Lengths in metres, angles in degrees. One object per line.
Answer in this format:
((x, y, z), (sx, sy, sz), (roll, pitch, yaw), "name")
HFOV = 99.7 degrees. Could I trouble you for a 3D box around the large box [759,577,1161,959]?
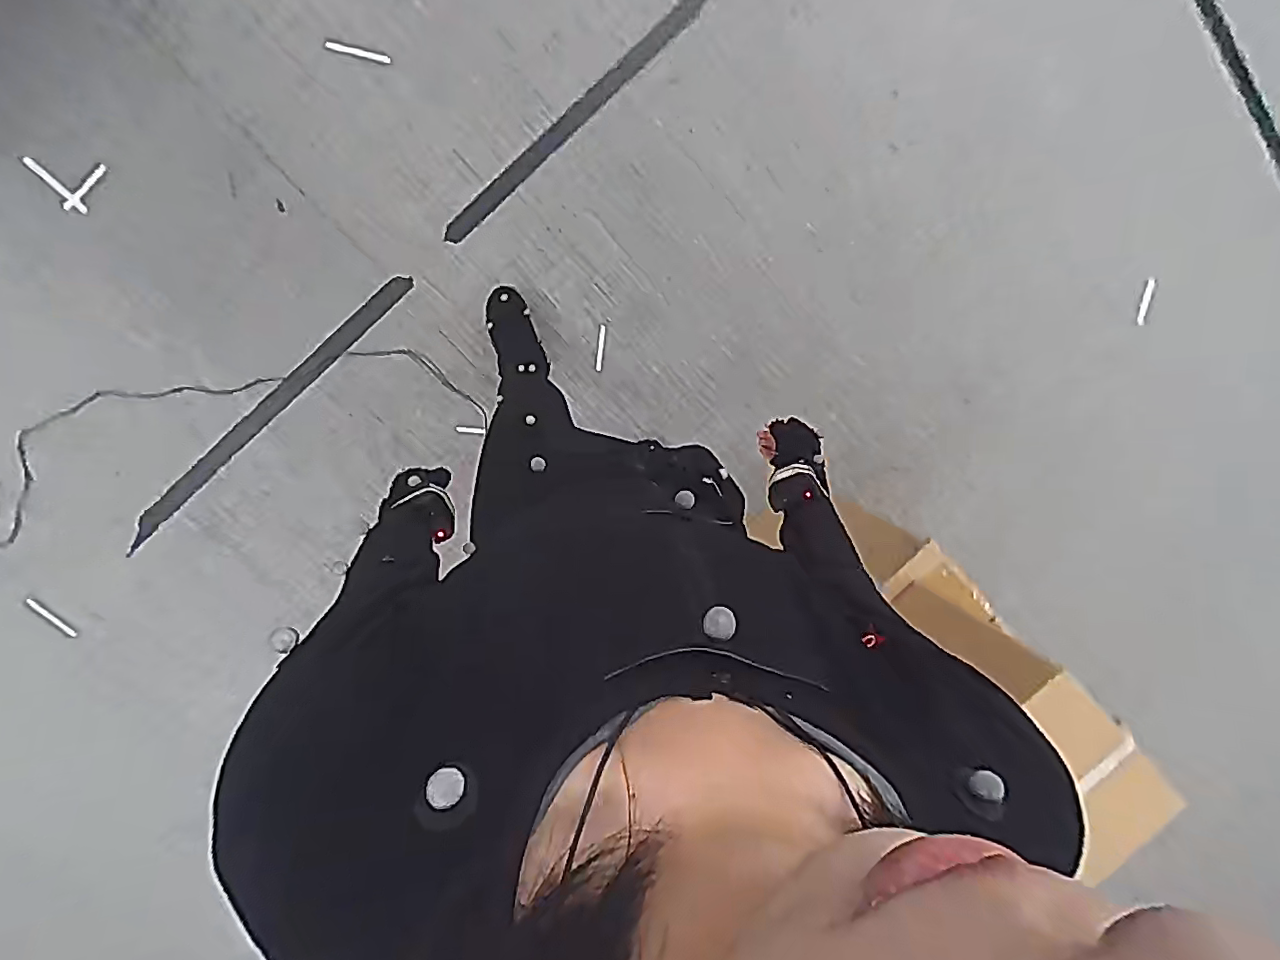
((0.476, 0.440, 0.884), (0.408, 0.320, 0.320), (-45, 101, 4), "large box")
